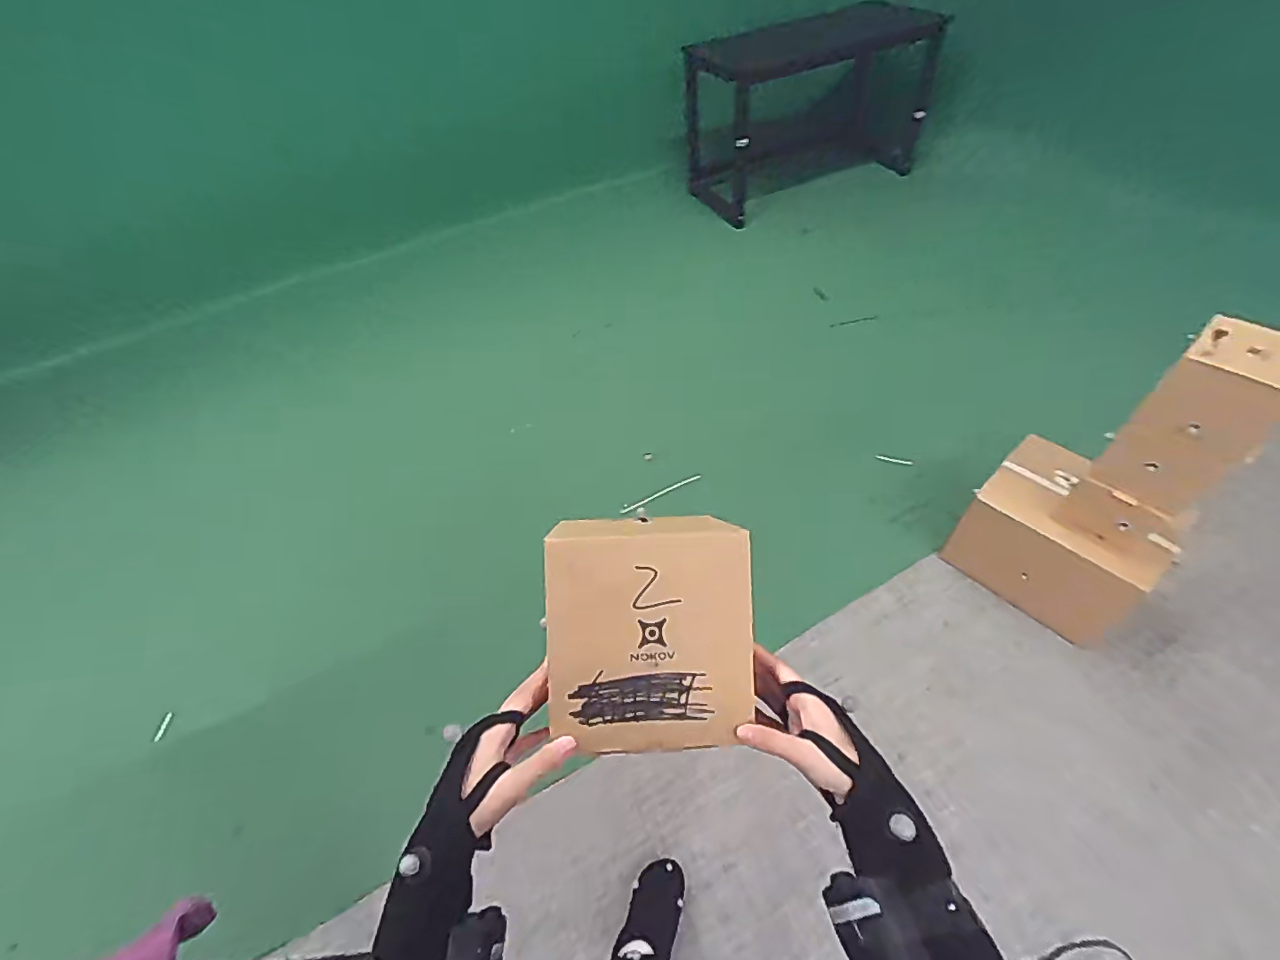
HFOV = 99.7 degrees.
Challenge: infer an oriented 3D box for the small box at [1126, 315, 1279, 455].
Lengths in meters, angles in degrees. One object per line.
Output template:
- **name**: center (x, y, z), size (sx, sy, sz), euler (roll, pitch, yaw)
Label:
- **small box**: center (1.085, -0.171, 1.014), size (0.168, 0.176, 0.179), euler (-37, 57, -22)

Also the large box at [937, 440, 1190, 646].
- **large box**: center (1.120, 0.166, 1.477), size (0.320, 0.320, 0.408), euler (-37, 54, -23)

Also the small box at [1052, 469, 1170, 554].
- **small box**: center (1.114, 0.040, 1.263), size (0.179, 0.176, 0.168), euler (-37, 56, -22)

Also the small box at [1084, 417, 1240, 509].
- **small box**: center (1.102, -0.064, 1.137), size (0.168, 0.176, 0.179), euler (-38, 56, -22)
